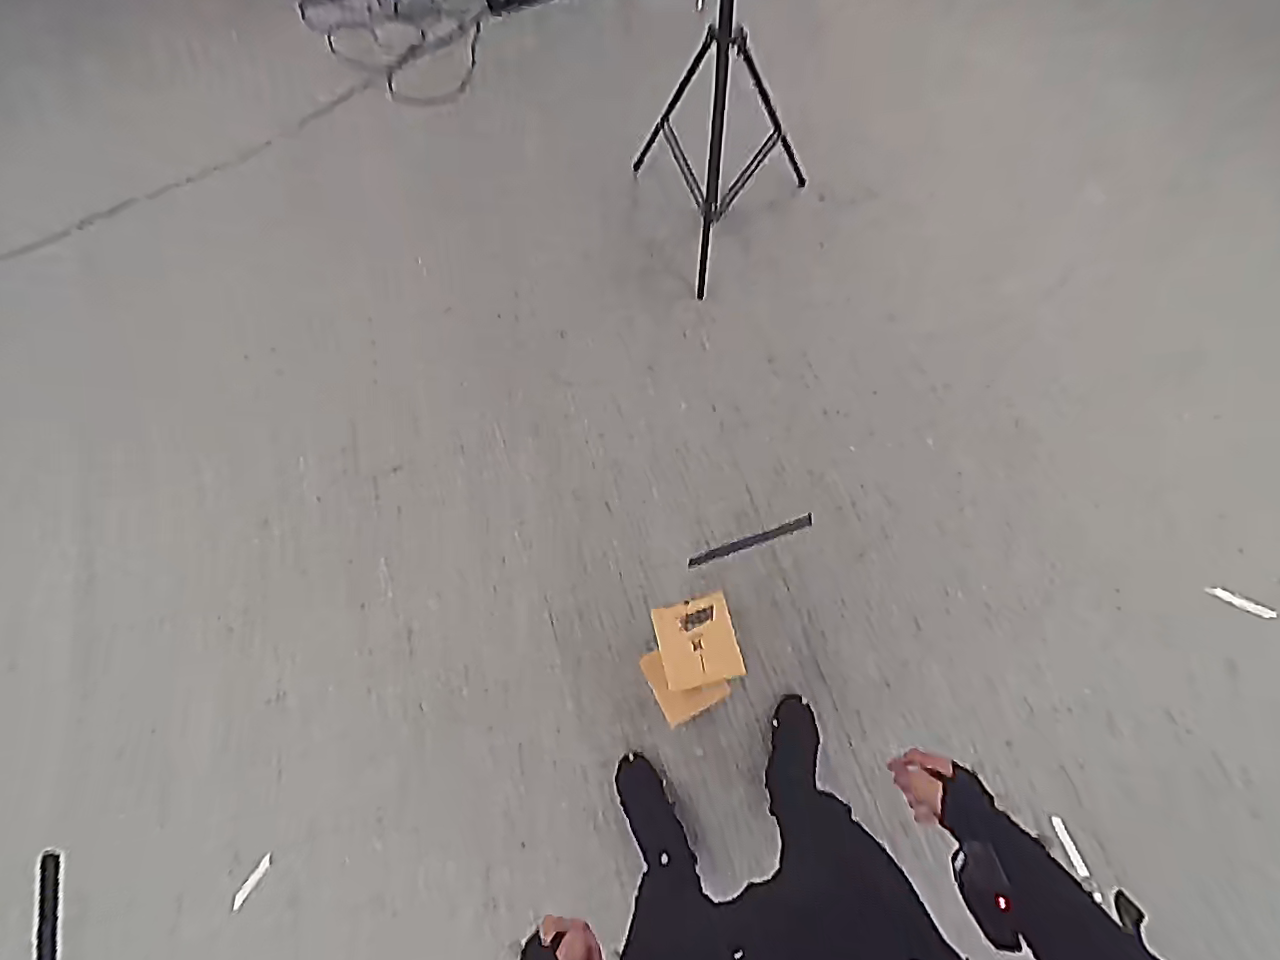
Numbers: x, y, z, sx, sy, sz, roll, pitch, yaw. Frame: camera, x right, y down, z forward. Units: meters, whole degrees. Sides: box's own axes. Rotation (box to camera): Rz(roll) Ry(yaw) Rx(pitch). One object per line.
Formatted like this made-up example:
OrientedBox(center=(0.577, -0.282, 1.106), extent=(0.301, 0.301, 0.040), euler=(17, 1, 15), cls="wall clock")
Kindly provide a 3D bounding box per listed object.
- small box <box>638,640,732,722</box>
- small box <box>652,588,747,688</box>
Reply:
OrientedBox(center=(0.109, 0.474, 1.346), extent=(0.168, 0.176, 0.179), euler=(-29, 73, -4), cls="small box")
OrientedBox(center=(0.129, 0.355, 1.211), extent=(0.168, 0.176, 0.179), euler=(-15, 72, 1), cls="small box")
